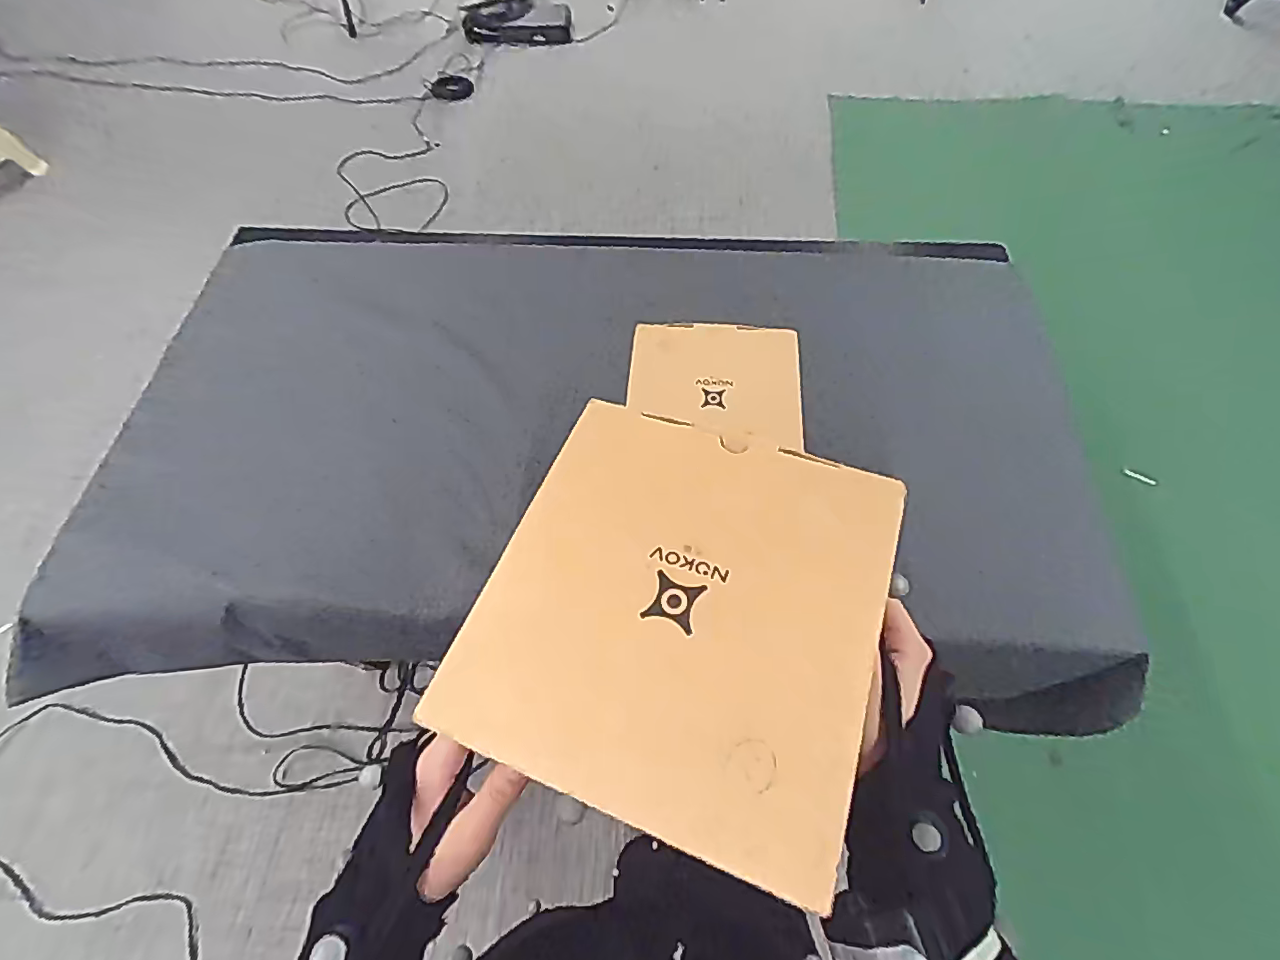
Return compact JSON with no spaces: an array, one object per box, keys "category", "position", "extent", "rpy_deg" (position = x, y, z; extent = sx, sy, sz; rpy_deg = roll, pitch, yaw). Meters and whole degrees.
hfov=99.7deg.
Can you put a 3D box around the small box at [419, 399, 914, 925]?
[{"category":"small box","position":[0.026,0.089,0.295],"extent":[0.168,0.176,0.179],"rpy_deg":[16,61,15]}]

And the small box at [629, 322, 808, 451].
[{"category":"small box","position":[0.075,-0.044,0.577],"extent":[0.168,0.176,0.179],"rpy_deg":[2,63,5]}]
